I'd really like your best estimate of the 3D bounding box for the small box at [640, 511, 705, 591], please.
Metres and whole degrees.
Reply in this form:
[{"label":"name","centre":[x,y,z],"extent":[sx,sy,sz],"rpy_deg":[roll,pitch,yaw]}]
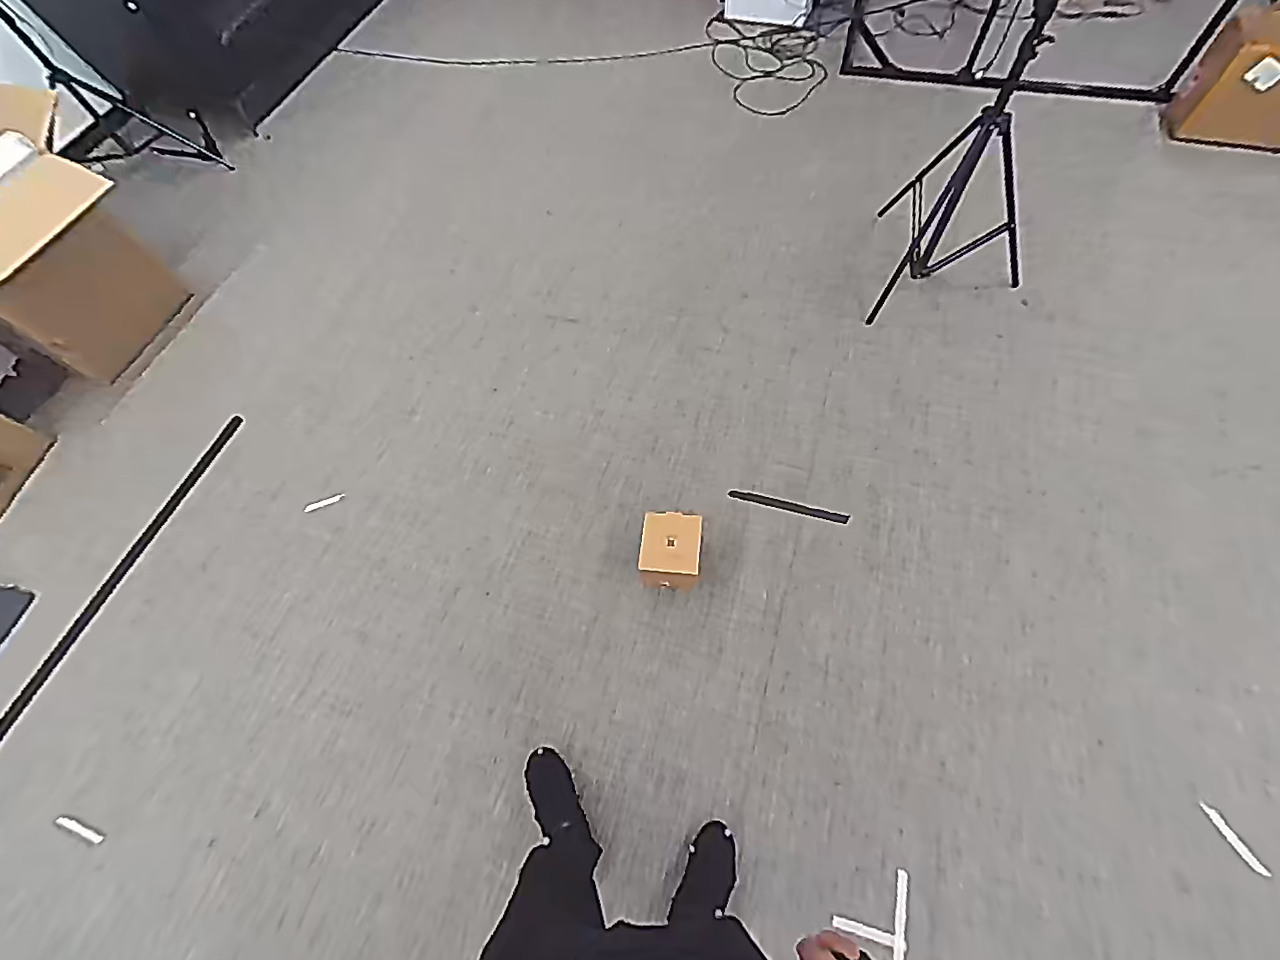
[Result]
[{"label":"small box","centre":[0.097,0.207,1.559],"extent":[0.168,0.176,0.179],"rpy_deg":[4,63,8]}]
